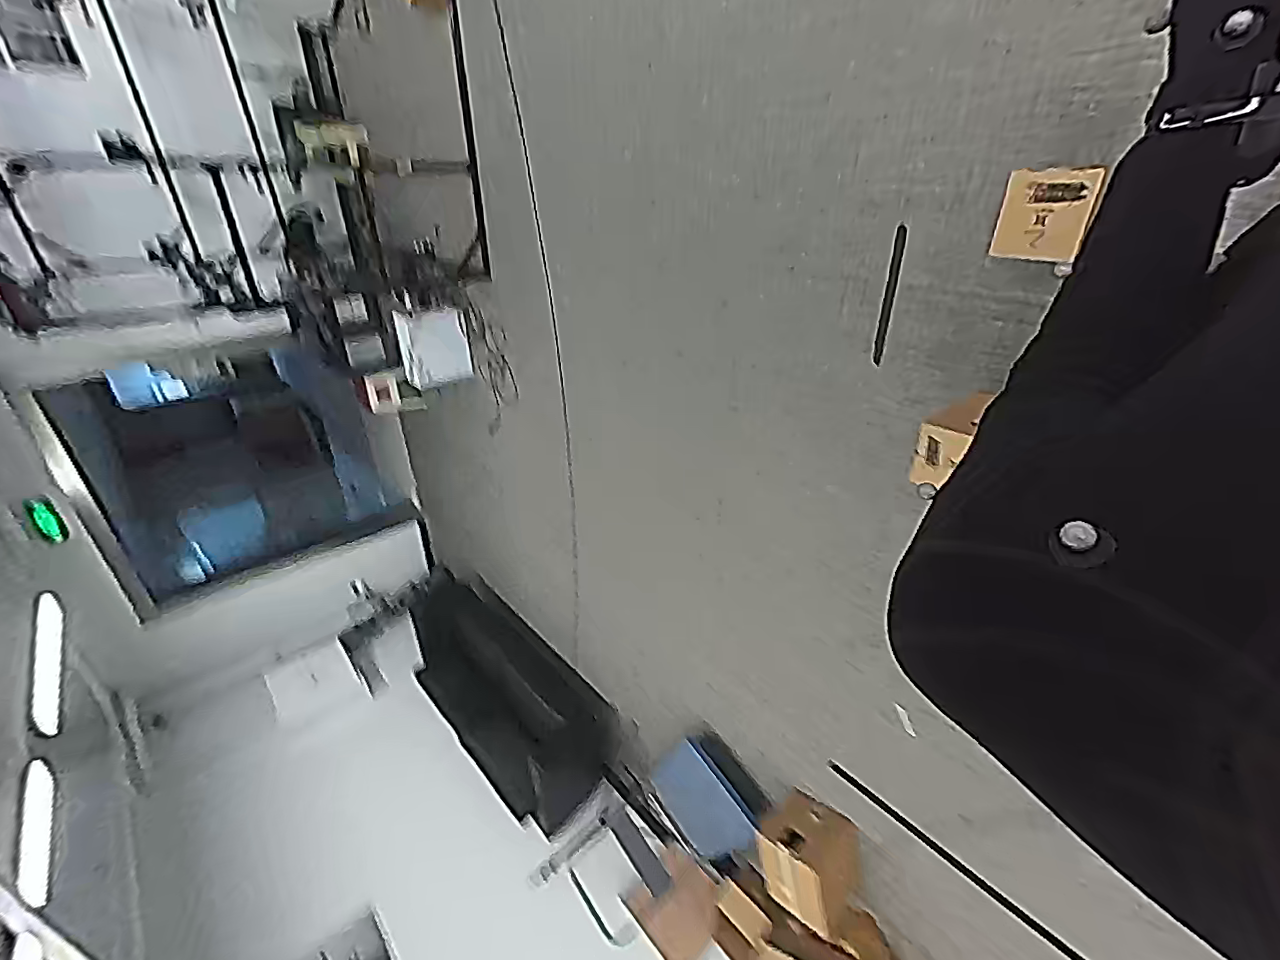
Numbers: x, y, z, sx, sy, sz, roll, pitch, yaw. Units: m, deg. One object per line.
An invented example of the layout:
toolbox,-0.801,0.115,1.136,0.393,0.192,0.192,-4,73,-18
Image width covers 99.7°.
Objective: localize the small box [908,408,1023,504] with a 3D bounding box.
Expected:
small box,0.803,-0.068,1.338,0.179,0.176,0.168,26,130,40
